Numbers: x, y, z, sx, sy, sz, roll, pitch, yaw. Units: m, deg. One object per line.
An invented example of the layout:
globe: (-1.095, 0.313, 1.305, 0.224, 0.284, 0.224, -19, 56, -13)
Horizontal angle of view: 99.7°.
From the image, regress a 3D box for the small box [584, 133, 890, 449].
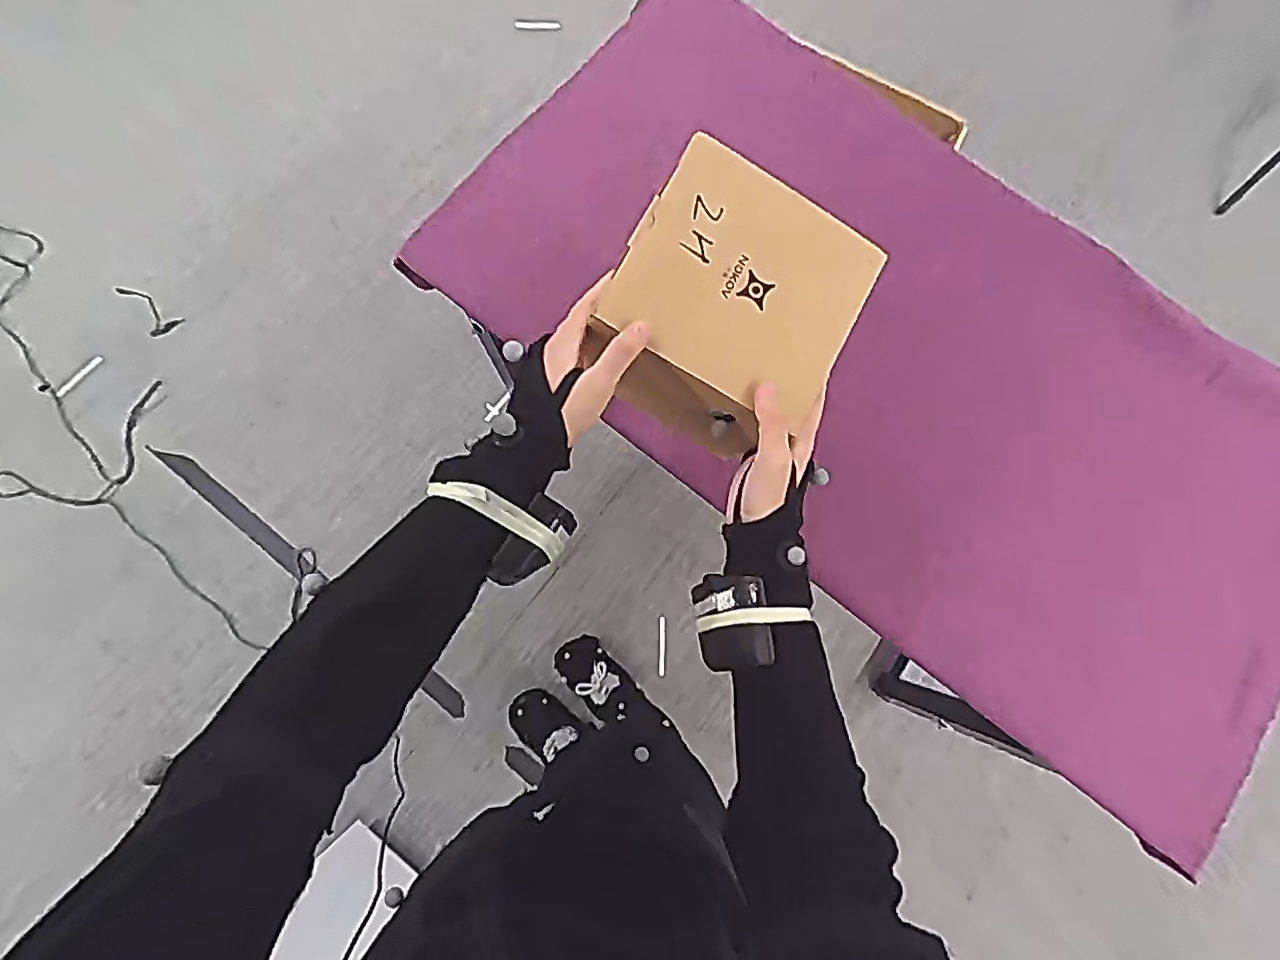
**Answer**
small box: (0.067, -0.138, 0.470, 0.179, 0.176, 0.168, 29, 82, -6)
